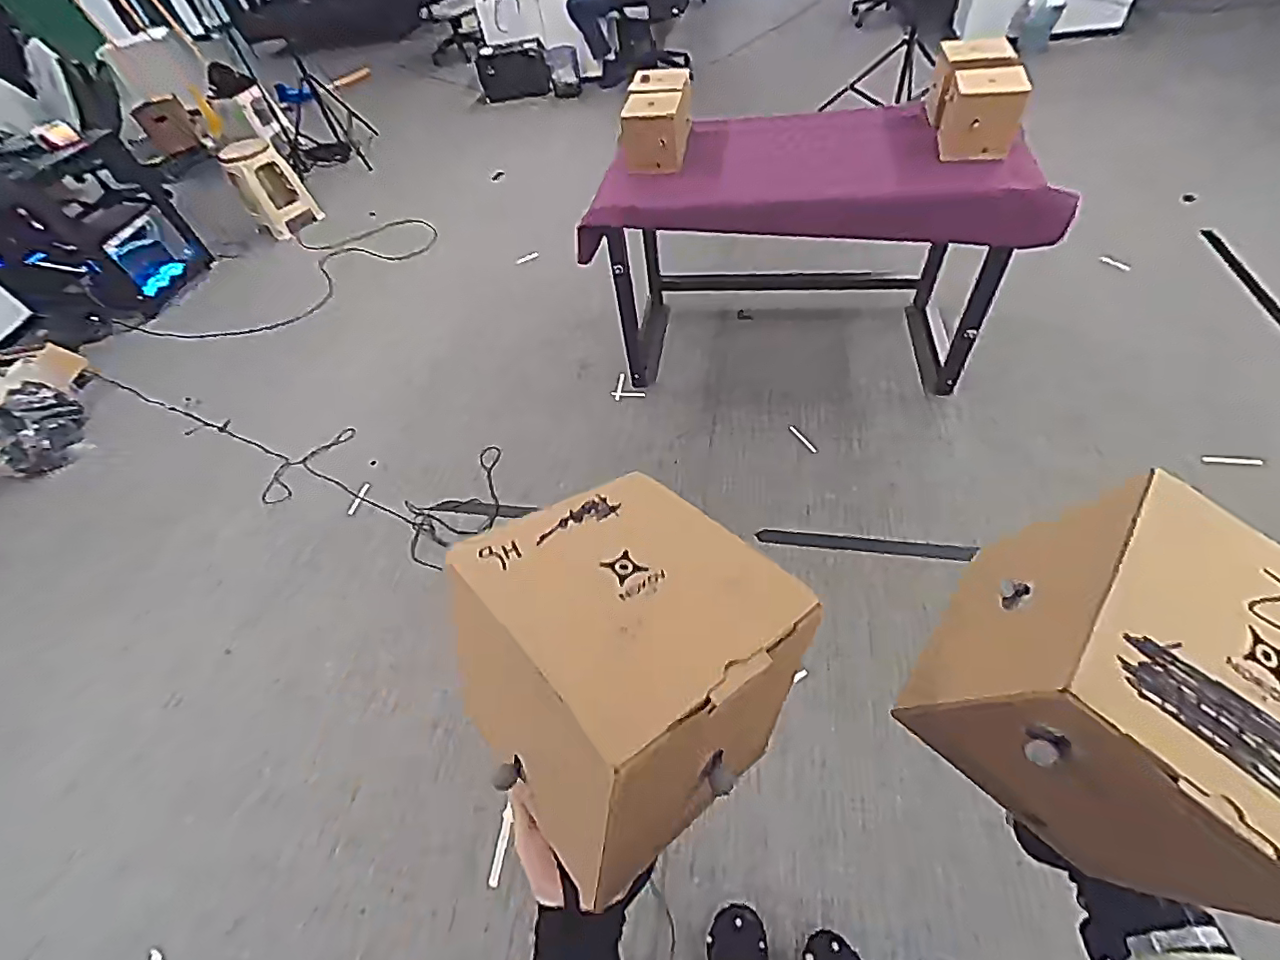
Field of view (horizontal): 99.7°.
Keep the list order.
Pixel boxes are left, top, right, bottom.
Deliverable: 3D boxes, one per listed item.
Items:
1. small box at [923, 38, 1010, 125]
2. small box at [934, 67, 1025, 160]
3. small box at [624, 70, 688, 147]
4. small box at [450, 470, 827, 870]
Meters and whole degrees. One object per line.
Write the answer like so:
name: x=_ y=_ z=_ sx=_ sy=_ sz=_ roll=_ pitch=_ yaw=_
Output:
small box: x=0.964 y=-1.185 z=1.617 sx=0.179 sy=0.176 sz=0.168 roll=5 pitch=55 yaw=12
small box: x=0.927 y=-1.004 z=1.491 sx=0.168 sy=0.176 sz=0.179 roll=7 pitch=53 yaw=15
small box: x=0.059 y=-1.226 z=1.790 sx=0.179 sy=0.176 sz=0.168 roll=6 pitch=56 yaw=12
small box: x=-0.011 y=0.124 z=0.374 sx=0.168 sy=0.176 sz=0.179 roll=-21 pitch=44 yaw=-37
